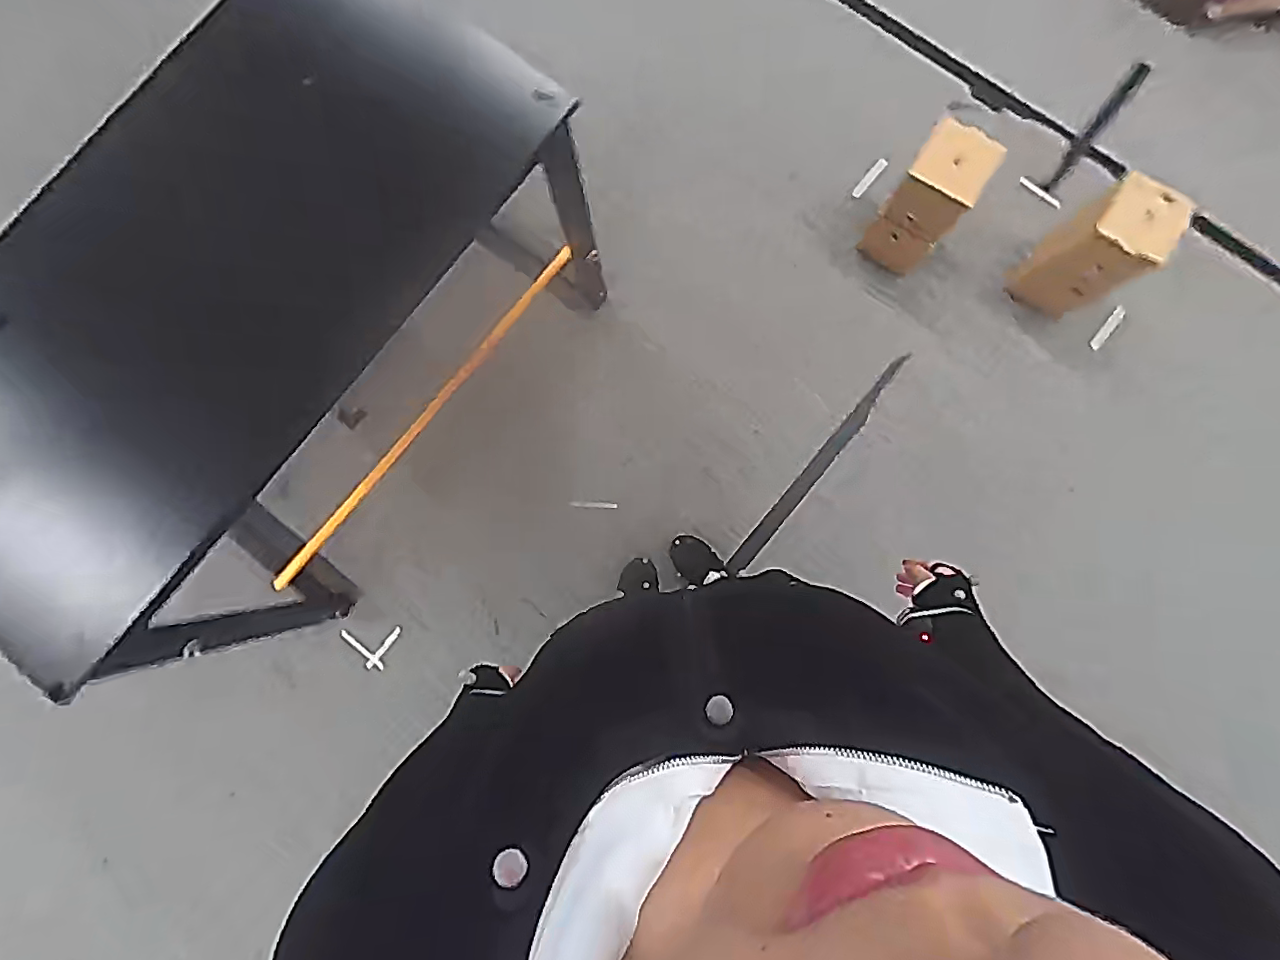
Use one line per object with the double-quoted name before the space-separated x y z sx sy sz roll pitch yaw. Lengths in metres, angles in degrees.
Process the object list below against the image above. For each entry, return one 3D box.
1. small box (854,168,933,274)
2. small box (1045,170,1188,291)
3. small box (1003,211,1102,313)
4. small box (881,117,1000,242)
"small box" 0.733 -0.711 1.504 0.179 0.176 0.168 35 86 5
"small box" 1.144 -0.596 1.317 0.168 0.176 0.179 31 86 4
"small box" 1.156 -0.585 1.480 0.179 0.176 0.168 32 86 5
"small box" 0.734 -0.738 1.343 0.168 0.176 0.179 32 87 6
